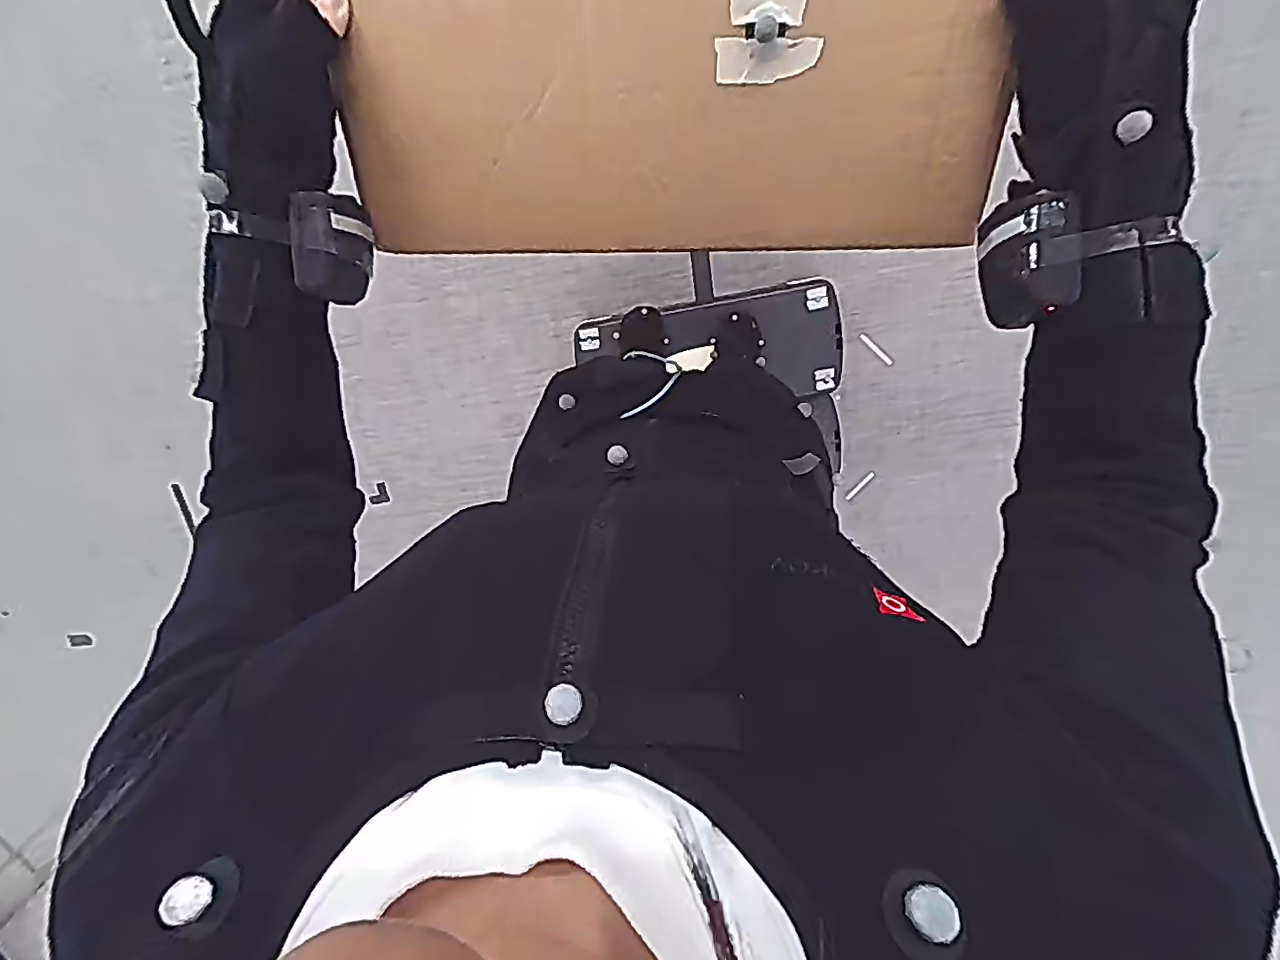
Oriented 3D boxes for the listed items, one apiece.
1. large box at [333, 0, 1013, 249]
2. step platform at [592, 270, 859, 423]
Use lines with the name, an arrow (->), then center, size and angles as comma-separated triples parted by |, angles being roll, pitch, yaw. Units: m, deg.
large box -> 0.024, -0.374, 0.431 | 0.408, 0.320, 0.320 | 2, 120, 7
step platform -> 0.217, -0.349, 1.439 | 0.684, 0.204, 0.286 | -9, 107, 8
